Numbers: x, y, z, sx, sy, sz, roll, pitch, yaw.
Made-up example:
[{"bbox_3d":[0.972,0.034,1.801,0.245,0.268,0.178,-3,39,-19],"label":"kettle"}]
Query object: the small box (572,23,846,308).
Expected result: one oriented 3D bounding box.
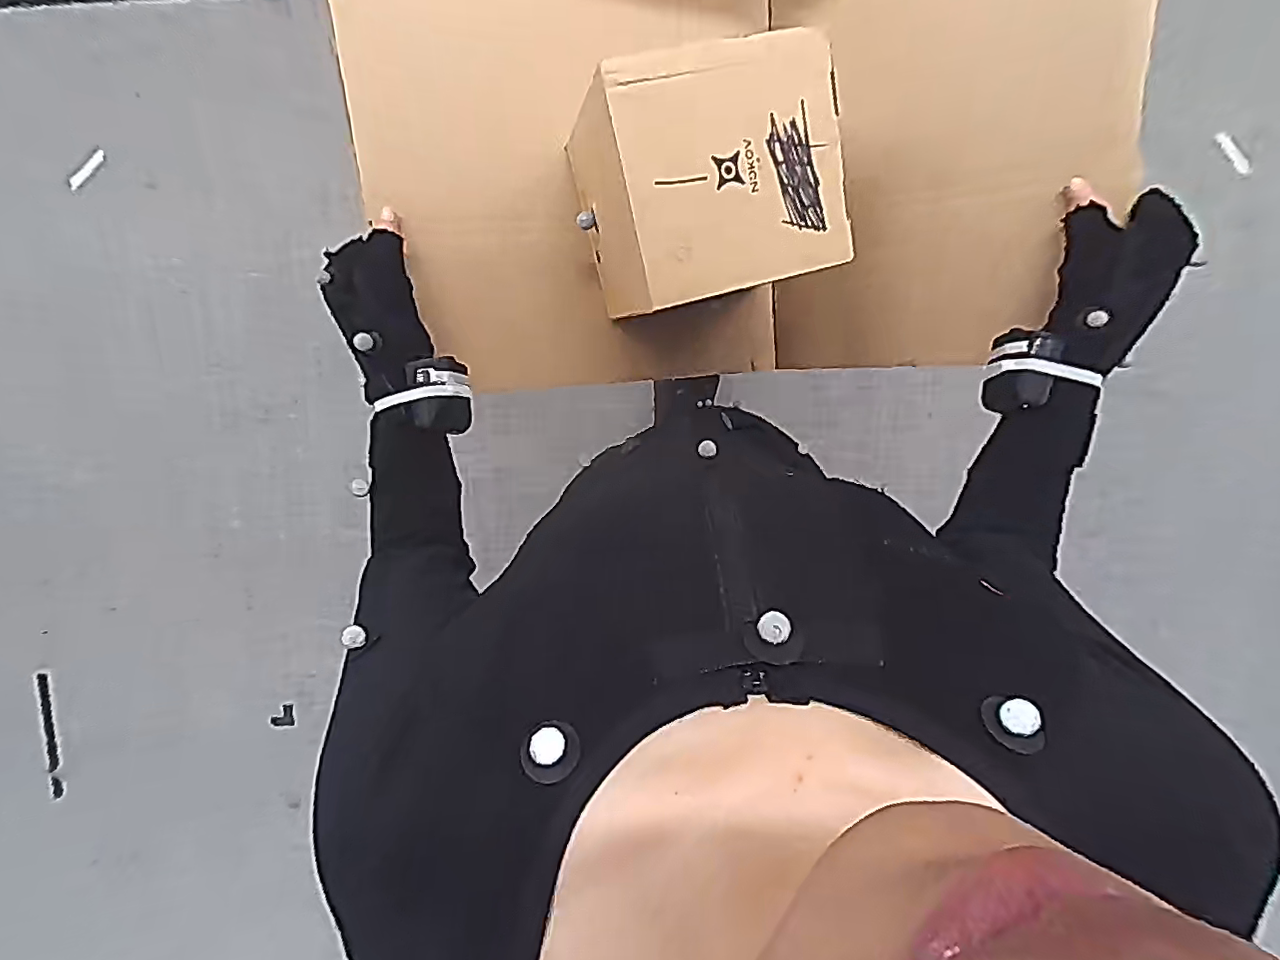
[{"bbox_3d":[0.051,-0.257,0.480,0.179,0.176,0.168,-17,107,-10],"label":"small box"}]
